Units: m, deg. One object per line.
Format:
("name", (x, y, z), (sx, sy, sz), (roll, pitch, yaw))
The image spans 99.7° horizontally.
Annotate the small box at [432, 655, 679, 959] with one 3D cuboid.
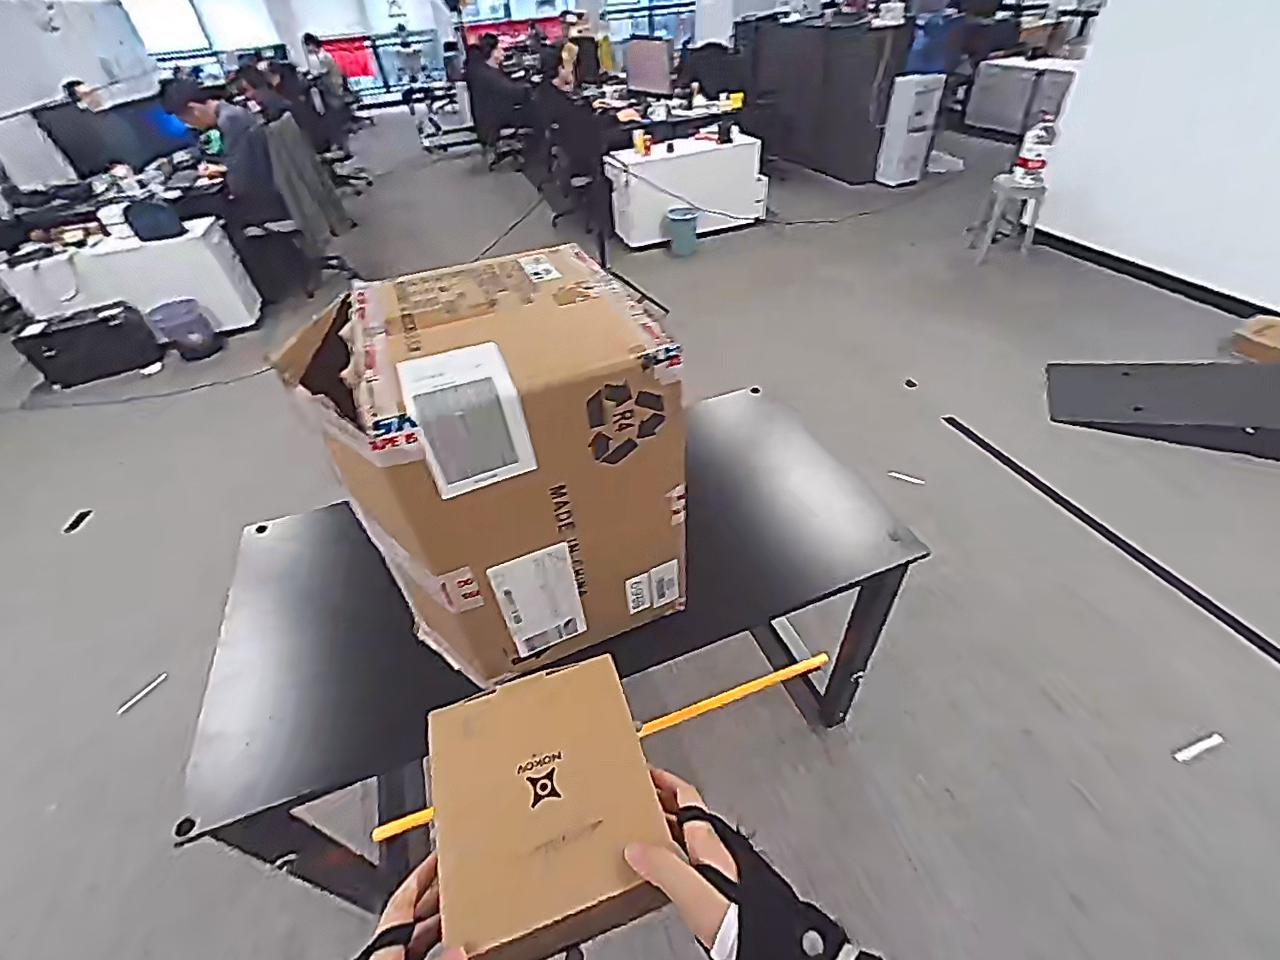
("small box", (-0.075, 0.292, 0.479), (0.168, 0.176, 0.179), (-14, 46, -13))
